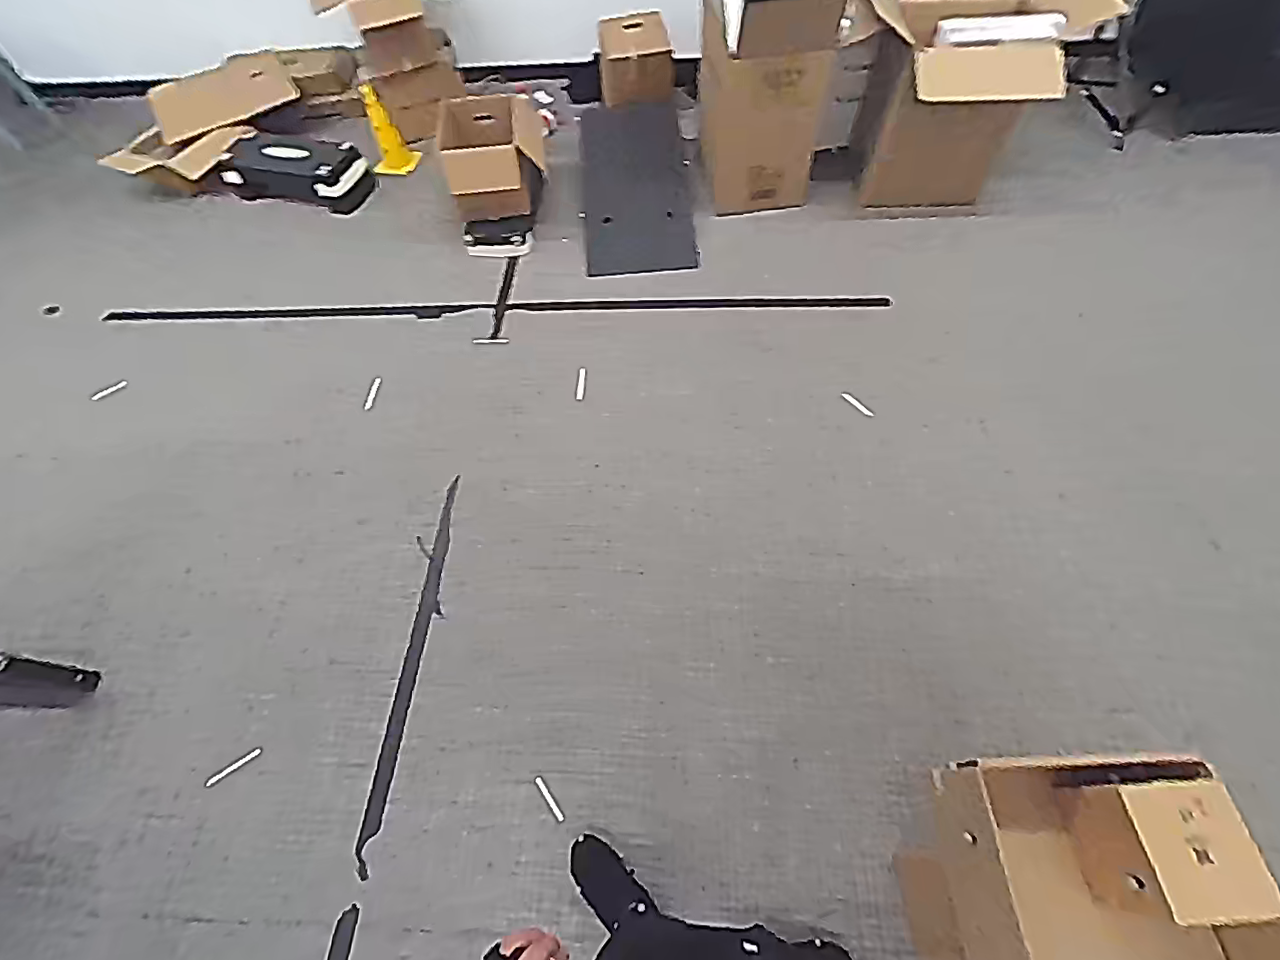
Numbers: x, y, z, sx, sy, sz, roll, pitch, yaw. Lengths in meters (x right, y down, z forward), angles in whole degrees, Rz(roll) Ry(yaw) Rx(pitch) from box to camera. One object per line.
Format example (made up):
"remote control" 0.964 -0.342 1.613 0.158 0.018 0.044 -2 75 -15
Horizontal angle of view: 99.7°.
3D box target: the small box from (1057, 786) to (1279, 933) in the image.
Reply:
"small box" 0.832 0.595 0.869 0.168 0.176 0.179 -3 59 0
